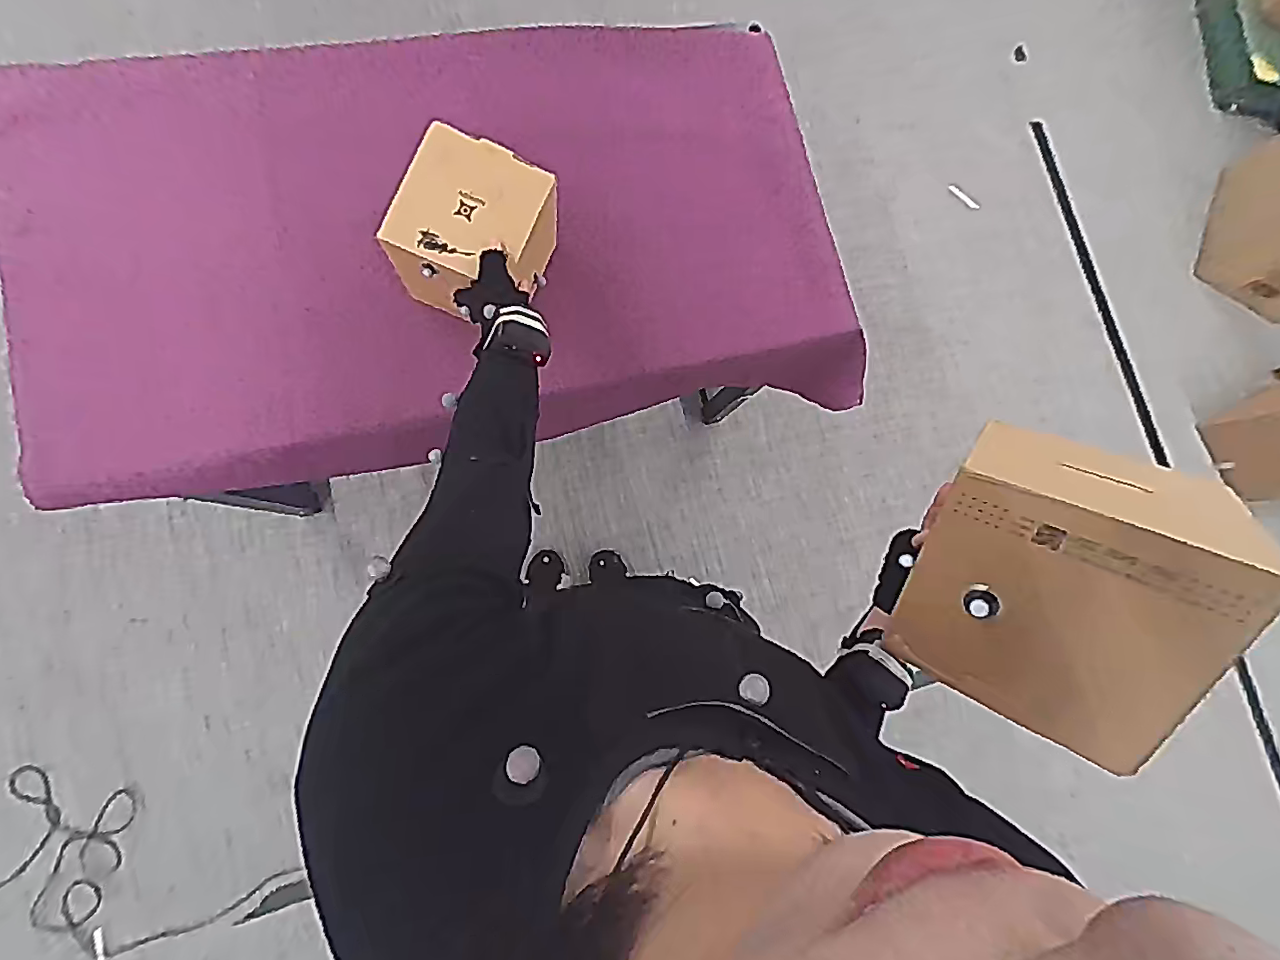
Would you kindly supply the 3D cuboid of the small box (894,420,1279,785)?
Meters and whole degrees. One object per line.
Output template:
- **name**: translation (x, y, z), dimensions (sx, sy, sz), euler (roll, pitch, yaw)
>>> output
- **small box**: translation (0.319, 0.067, 0.403), dimensions (0.168, 0.176, 0.179), euler (27, 32, 29)

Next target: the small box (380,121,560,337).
- **small box**: translation (-0.220, -0.329, 0.743), dimensions (0.168, 0.176, 0.179), euler (22, 81, -6)
